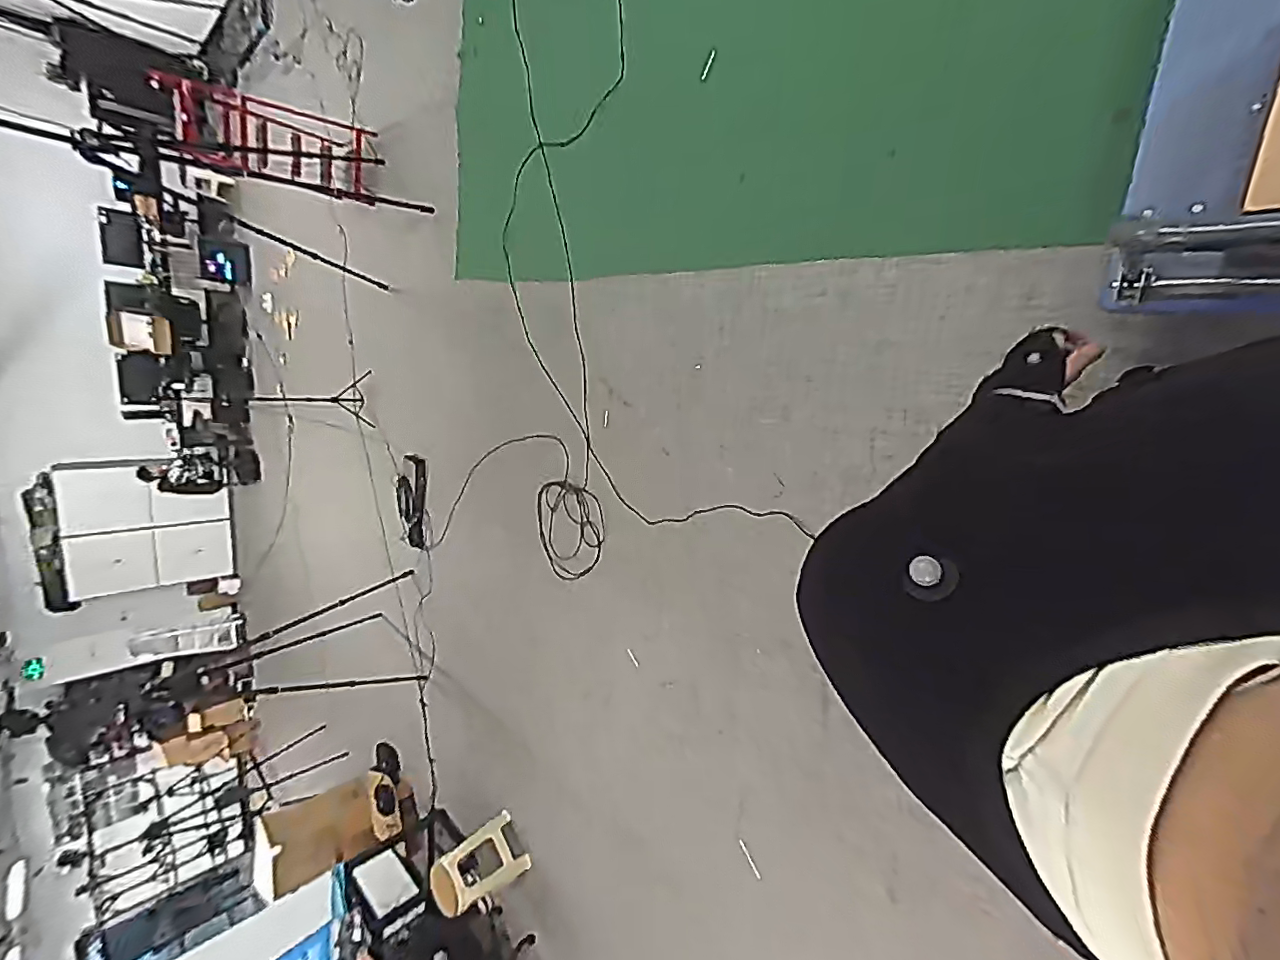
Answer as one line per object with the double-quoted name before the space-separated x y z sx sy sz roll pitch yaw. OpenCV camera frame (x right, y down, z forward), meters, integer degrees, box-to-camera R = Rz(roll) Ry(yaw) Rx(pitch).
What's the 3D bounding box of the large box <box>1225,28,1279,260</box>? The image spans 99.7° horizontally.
"large box" 1.098 -0.562 0.757 0.320 0.320 0.408 15 104 41
